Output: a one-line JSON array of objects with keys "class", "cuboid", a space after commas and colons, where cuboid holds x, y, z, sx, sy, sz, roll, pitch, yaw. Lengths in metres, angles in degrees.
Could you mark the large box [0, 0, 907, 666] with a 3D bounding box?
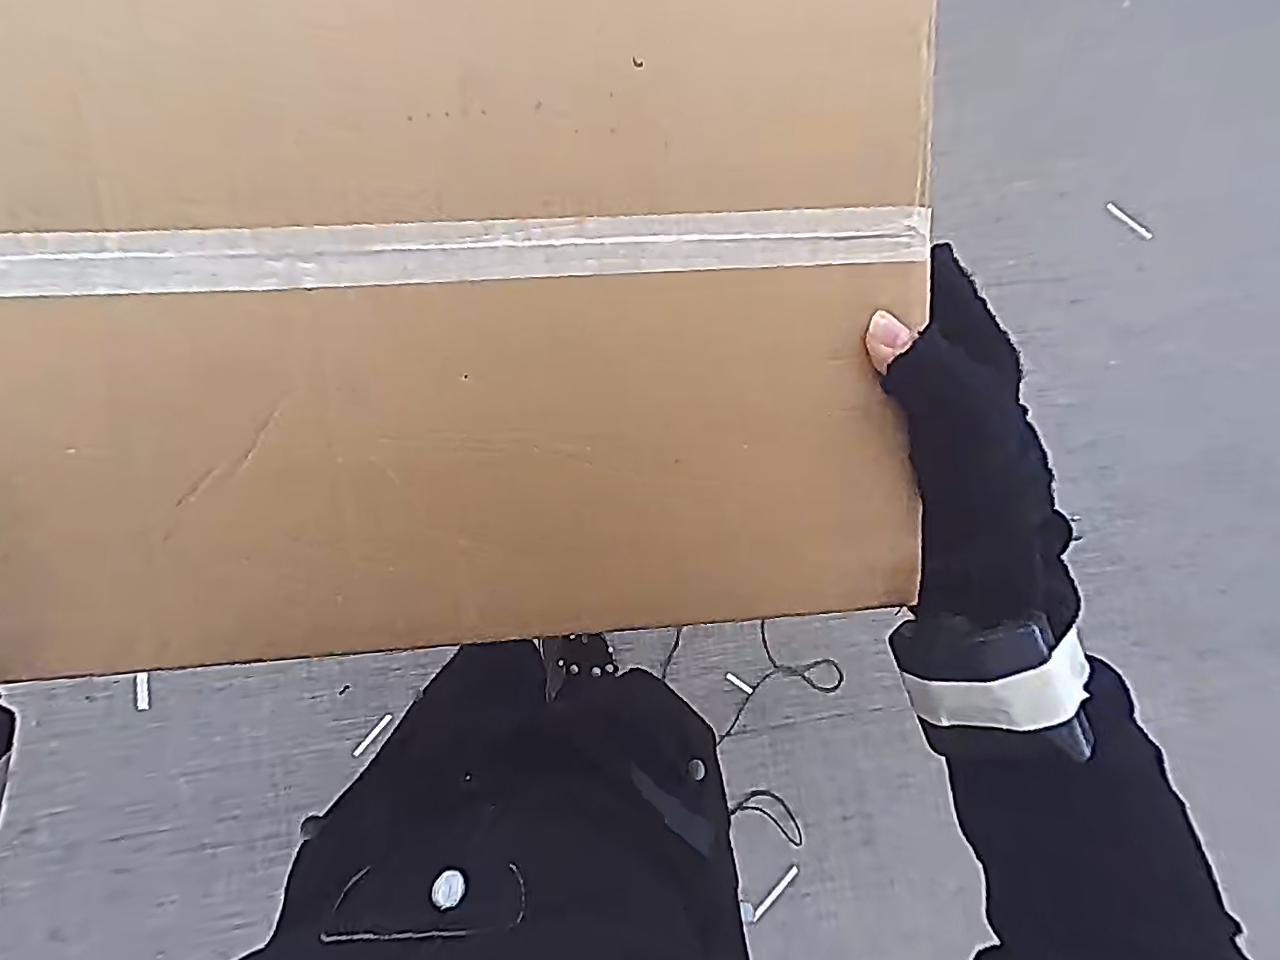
[{"class": "large box", "cuboid": [-0.098, -0.110, 0.362, 0.408, 0.320, 0.320, -3, 99, -5]}]
